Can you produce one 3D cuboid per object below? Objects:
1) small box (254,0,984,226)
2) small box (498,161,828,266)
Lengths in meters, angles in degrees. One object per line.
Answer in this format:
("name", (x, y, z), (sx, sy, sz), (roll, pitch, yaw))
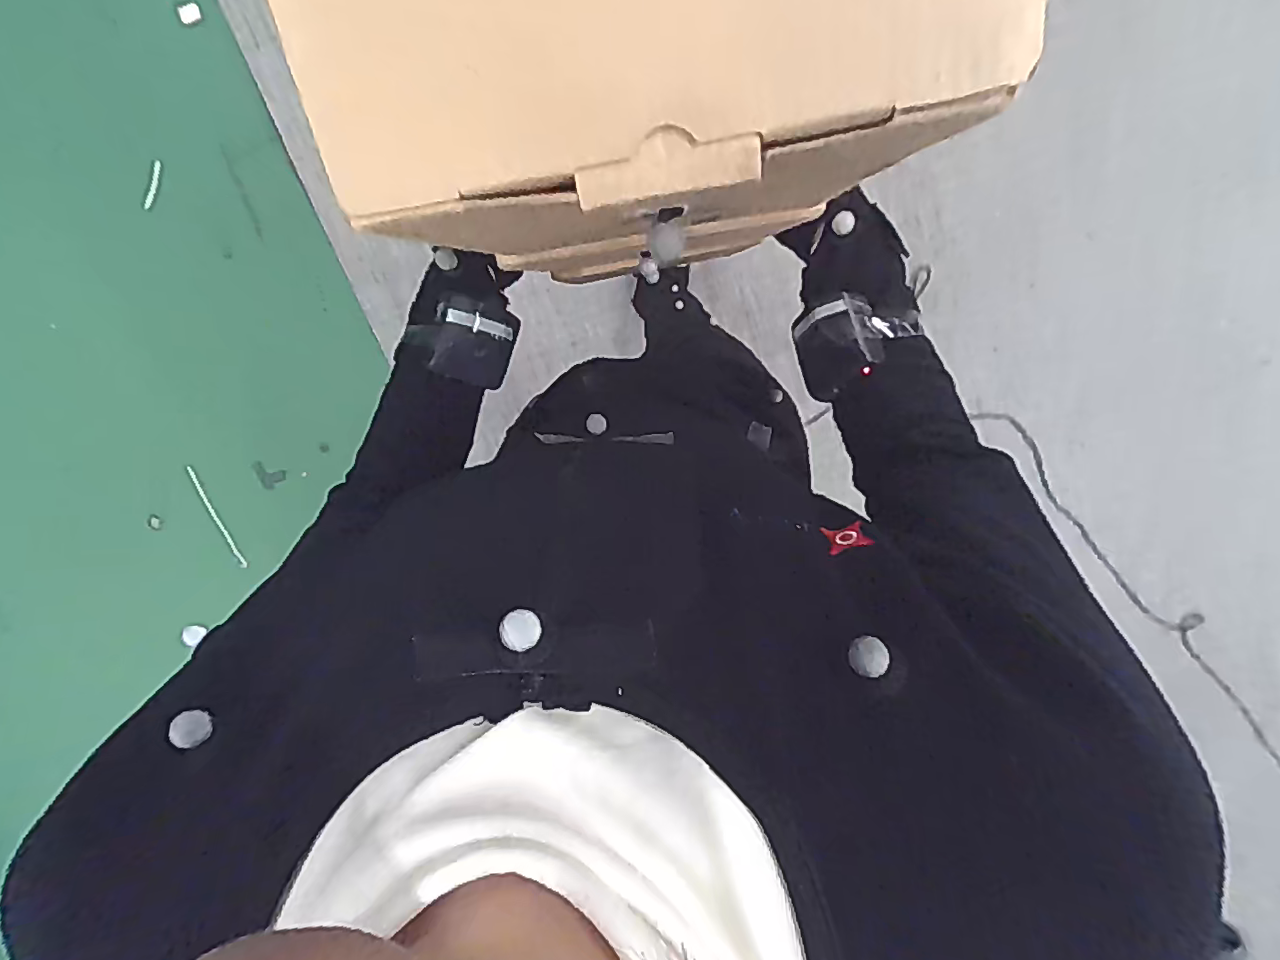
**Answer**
("small box", (-0.010, -0.189, 0.176), (0.168, 0.176, 0.179), (-8, 111, 5))
("small box", (-0.002, -0.236, 0.332), (0.179, 0.176, 0.168), (-11, 110, 6))
